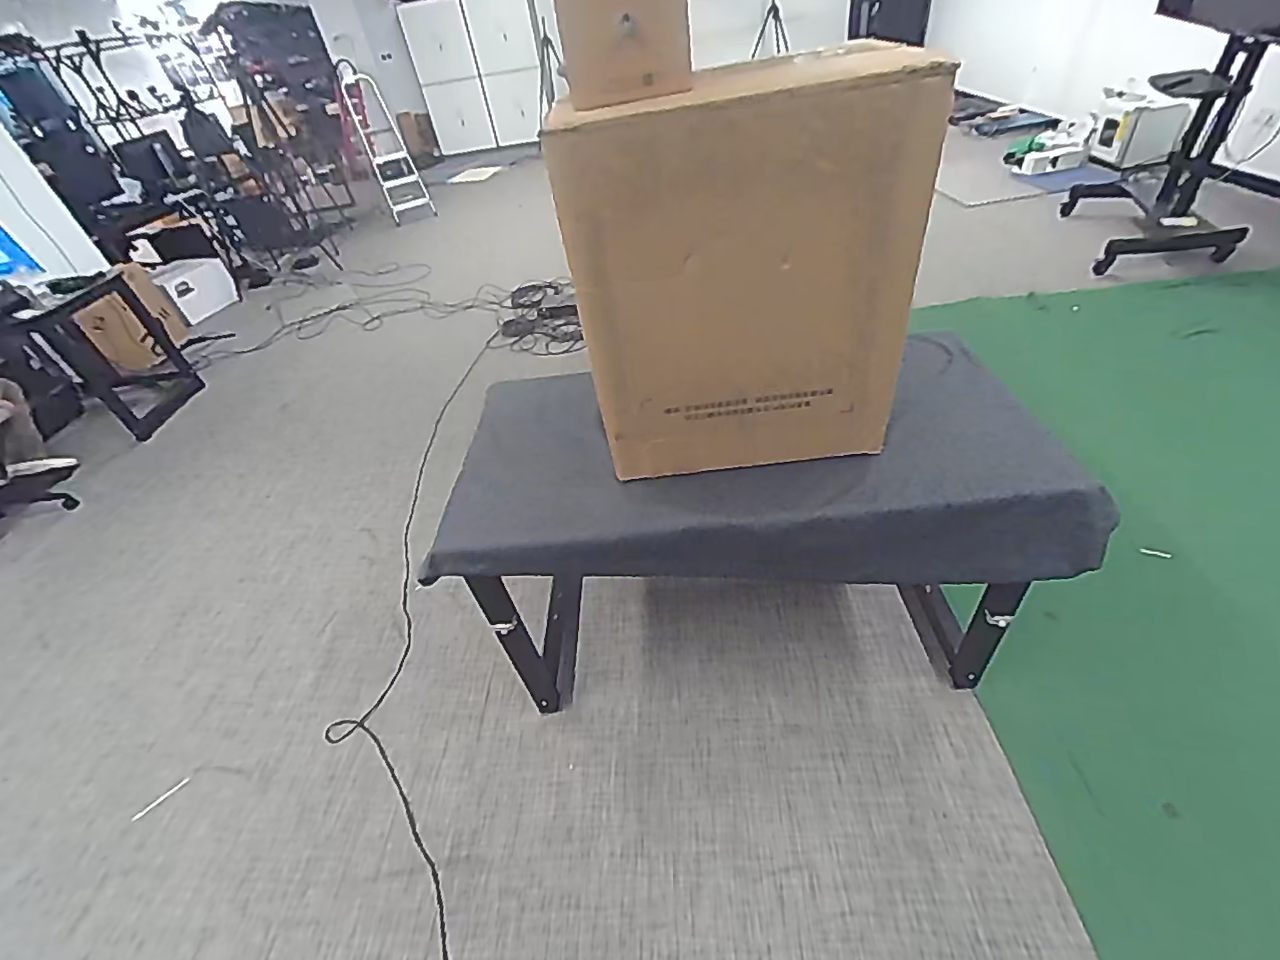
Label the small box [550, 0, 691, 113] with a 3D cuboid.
[{"bbox_3d":[-0.027,-0.622,0.736,0.168,0.176,0.179,-9,44,3],"label":"small box"}]
